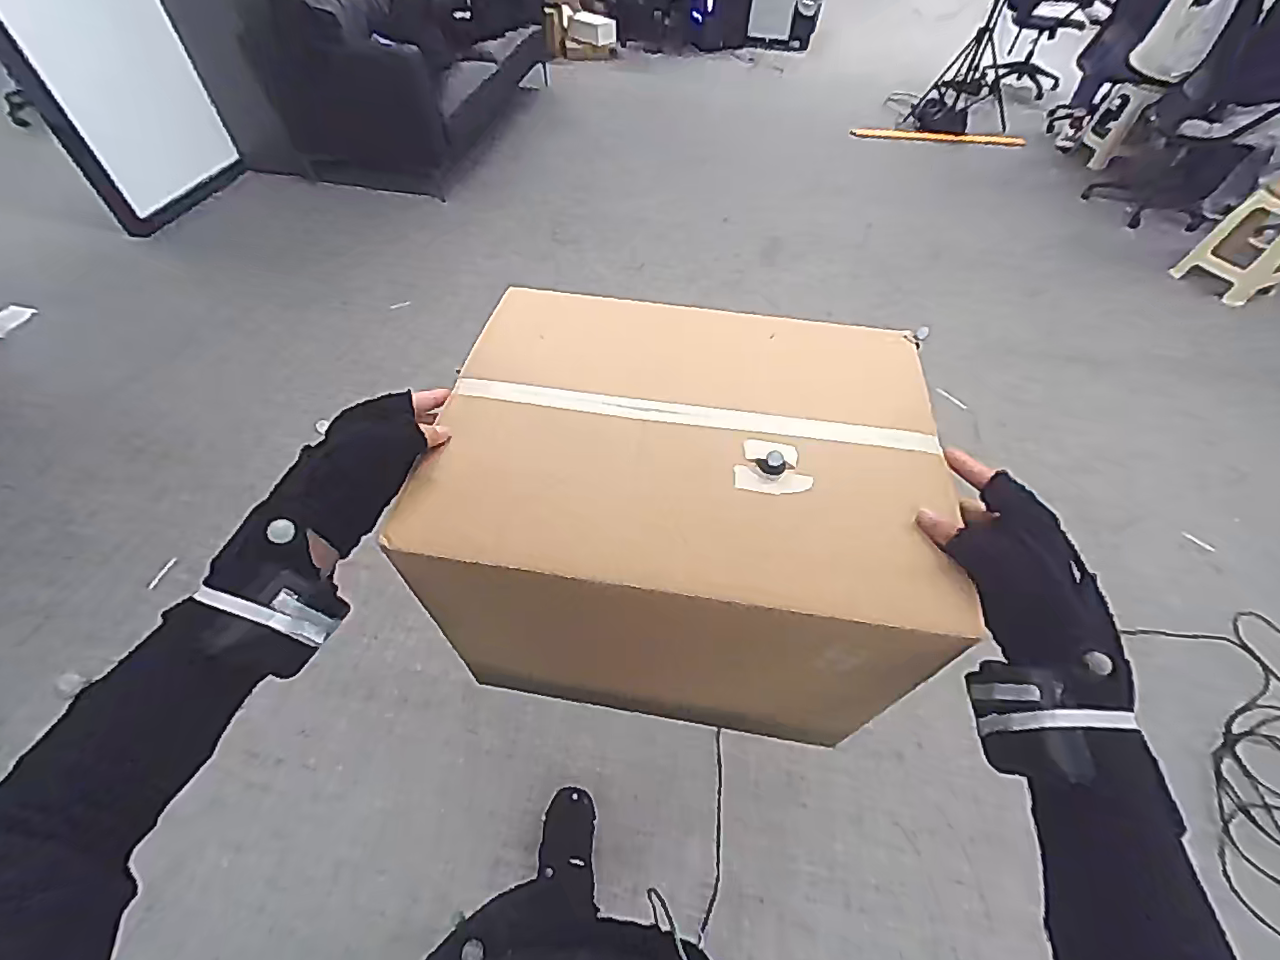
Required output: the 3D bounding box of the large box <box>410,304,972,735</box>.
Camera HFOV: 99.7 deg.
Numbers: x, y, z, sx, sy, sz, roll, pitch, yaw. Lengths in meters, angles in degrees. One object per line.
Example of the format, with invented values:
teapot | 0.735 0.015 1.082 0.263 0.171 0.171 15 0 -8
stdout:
large box | 0.043 0.048 0.582 0.408 0.320 0.320 8 53 4
